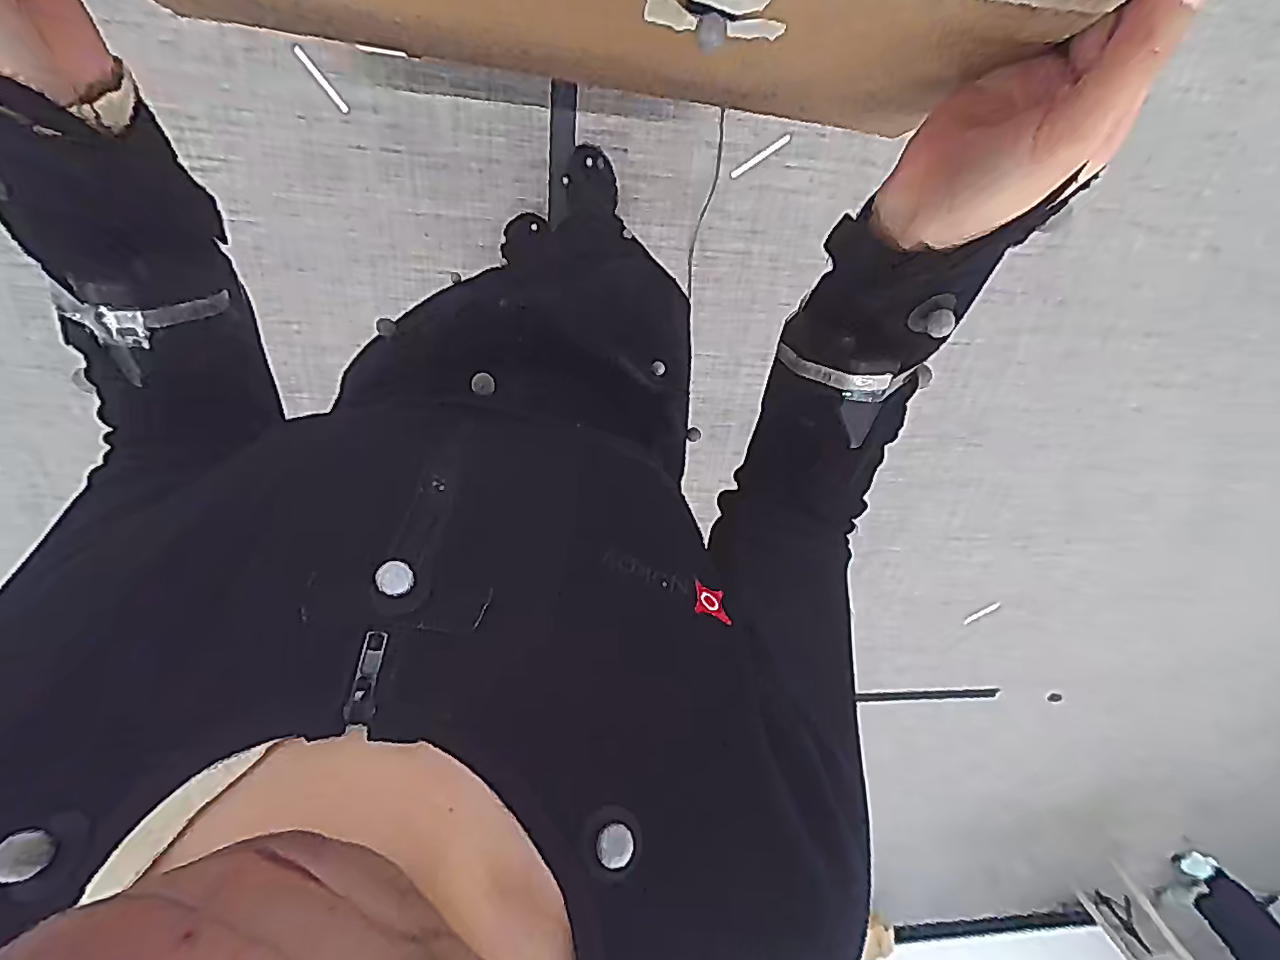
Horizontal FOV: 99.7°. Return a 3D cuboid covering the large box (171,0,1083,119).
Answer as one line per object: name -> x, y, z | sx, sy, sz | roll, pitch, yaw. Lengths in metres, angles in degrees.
large box -> -0.017, -0.335, 0.123 | 0.408, 0.320, 0.320 | 4, 107, -6
